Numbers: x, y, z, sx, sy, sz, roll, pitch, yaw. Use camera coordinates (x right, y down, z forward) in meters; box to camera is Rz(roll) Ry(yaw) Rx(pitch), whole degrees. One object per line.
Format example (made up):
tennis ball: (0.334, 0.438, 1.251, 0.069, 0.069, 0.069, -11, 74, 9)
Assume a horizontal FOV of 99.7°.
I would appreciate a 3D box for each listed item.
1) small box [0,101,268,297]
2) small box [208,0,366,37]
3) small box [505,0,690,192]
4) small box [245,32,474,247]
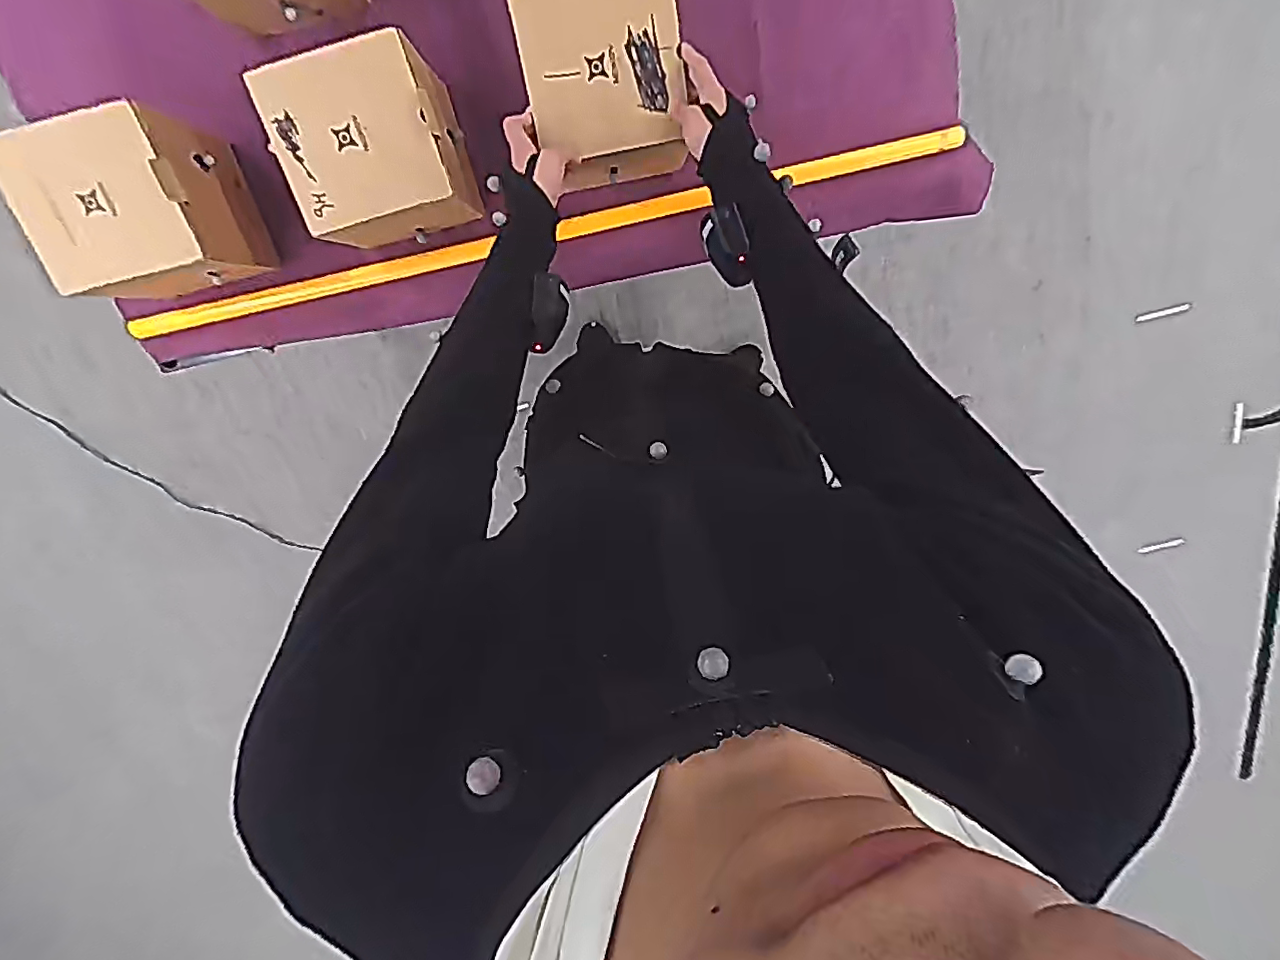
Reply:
small box: (-0.607, -0.332, 0.672, 0.179, 0.176, 0.168, -15, 108, -1)
small box: (-0.434, -0.632, 0.583, 0.168, 0.176, 0.179, -13, 110, 1)
small box: (-0.045, -0.467, 0.657, 0.179, 0.176, 0.168, -10, 108, 2)
small box: (-0.320, -0.401, 0.668, 0.179, 0.176, 0.168, -15, 108, 1)
